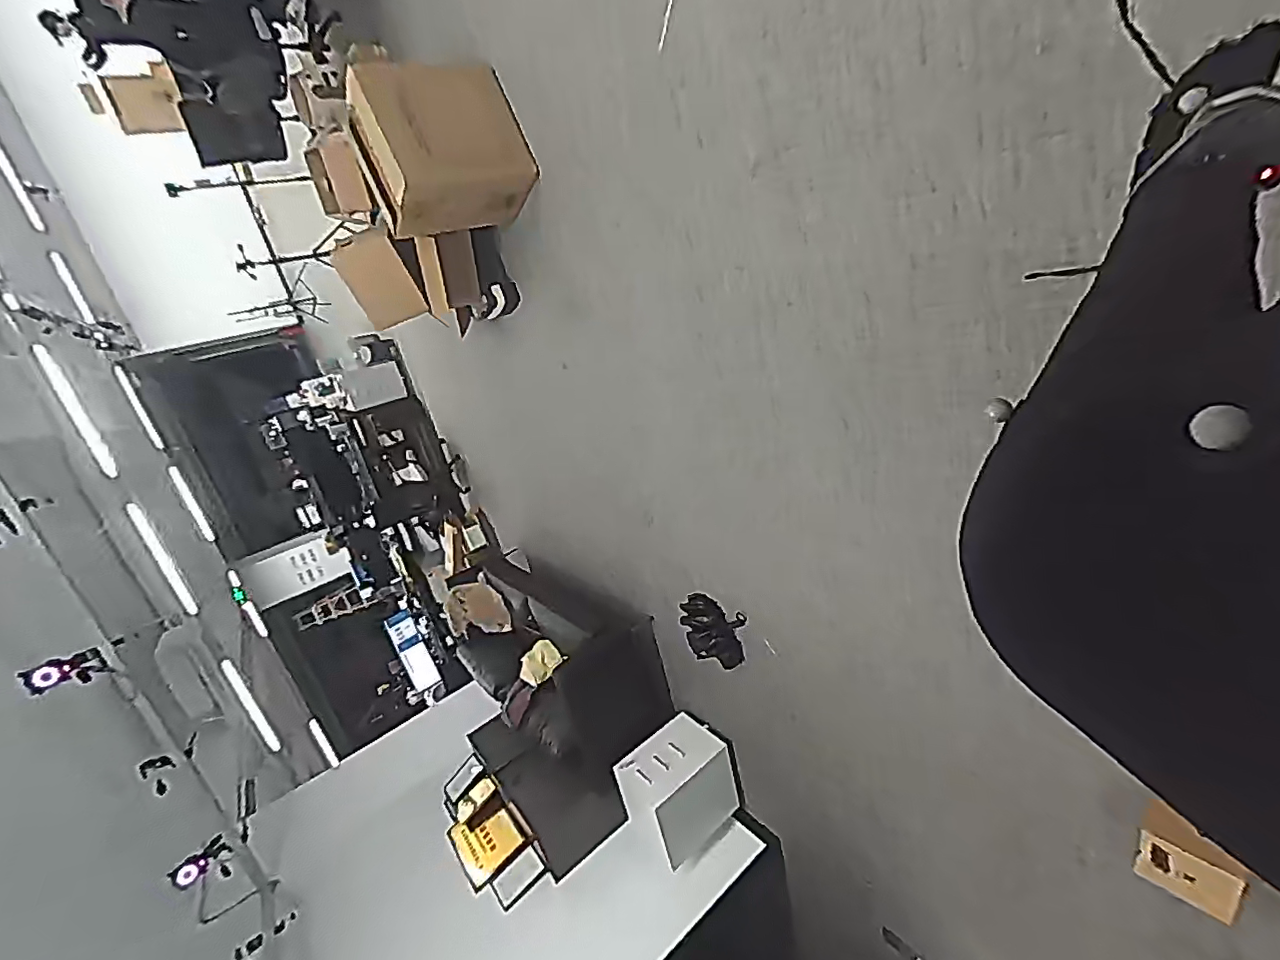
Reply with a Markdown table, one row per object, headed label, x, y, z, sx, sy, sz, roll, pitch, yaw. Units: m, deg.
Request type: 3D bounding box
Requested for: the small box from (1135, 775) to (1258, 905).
| label | x | y | z | sx | sy | sz | roll | pitch | yaw |
| --- | --- | --- | --- | --- | --- | --- | --- | --- | --- |
| small box | 1.367 | 0.871 | 1.333 | 0.179 | 0.176 | 0.168 | 14 | 124 | 53 |
